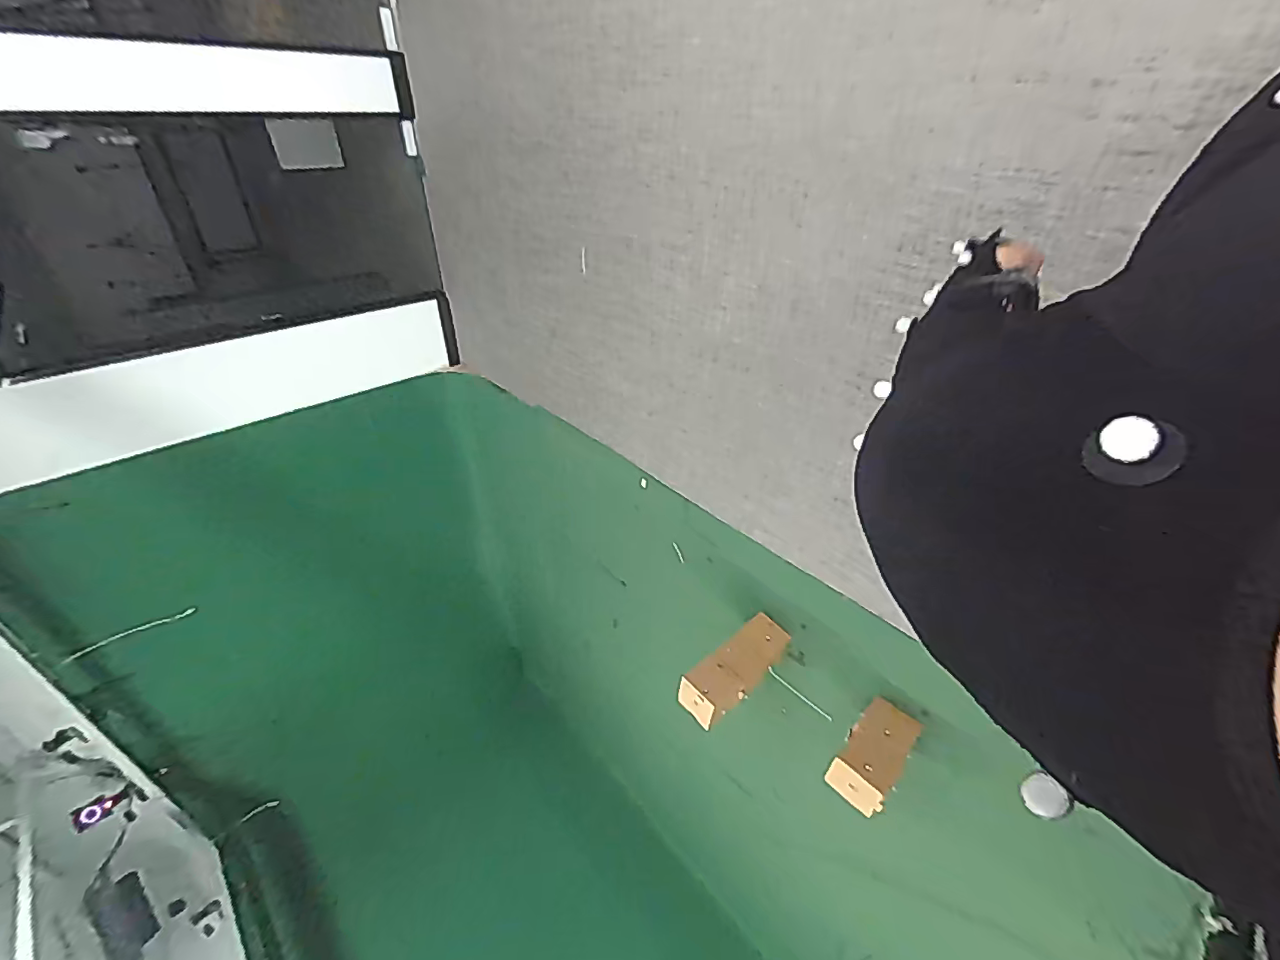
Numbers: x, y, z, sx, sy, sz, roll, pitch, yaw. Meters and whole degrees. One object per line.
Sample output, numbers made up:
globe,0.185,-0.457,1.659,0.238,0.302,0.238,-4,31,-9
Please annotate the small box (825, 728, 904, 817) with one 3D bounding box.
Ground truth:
small box,0.772,0.998,1.856,0.179,0.176,0.168,34,135,35

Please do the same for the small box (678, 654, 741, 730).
small box,0.270,0.817,2.093,0.168,0.176,0.179,37,138,34

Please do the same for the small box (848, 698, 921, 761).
small box,0.882,0.933,1.957,0.179,0.176,0.168,32,134,36

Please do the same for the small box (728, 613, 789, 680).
small box,0.506,0.700,2.290,0.168,0.176,0.179,39,139,31
